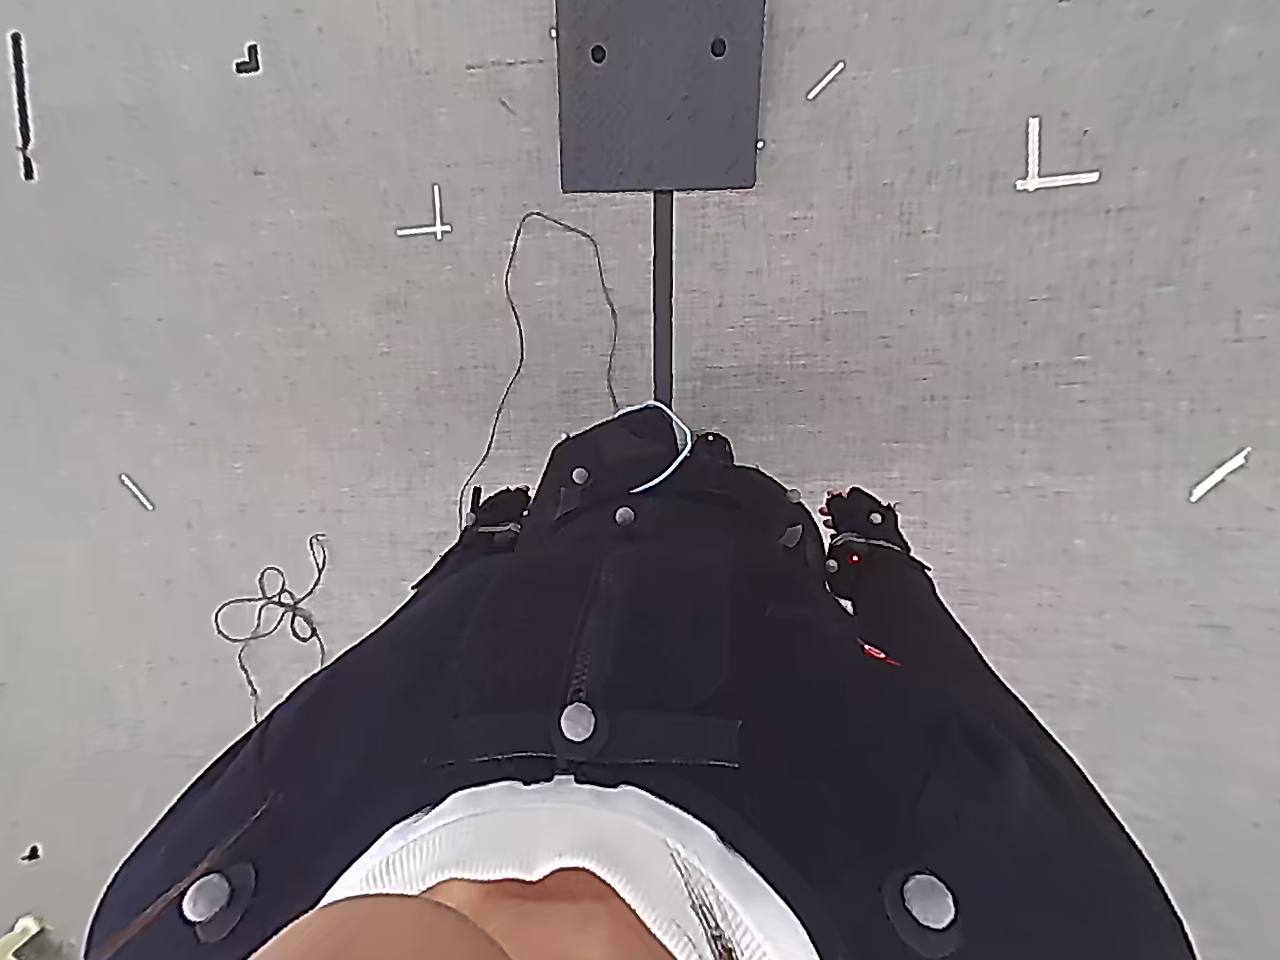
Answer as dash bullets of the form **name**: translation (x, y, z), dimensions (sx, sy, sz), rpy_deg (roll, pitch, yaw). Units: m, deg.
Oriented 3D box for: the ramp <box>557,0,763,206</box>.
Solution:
- **ramp**: translation (0.042, -1.196, 1.257), dimensions (0.509, 0.206, 0.991), rpy_deg (-1, 95, 7)
